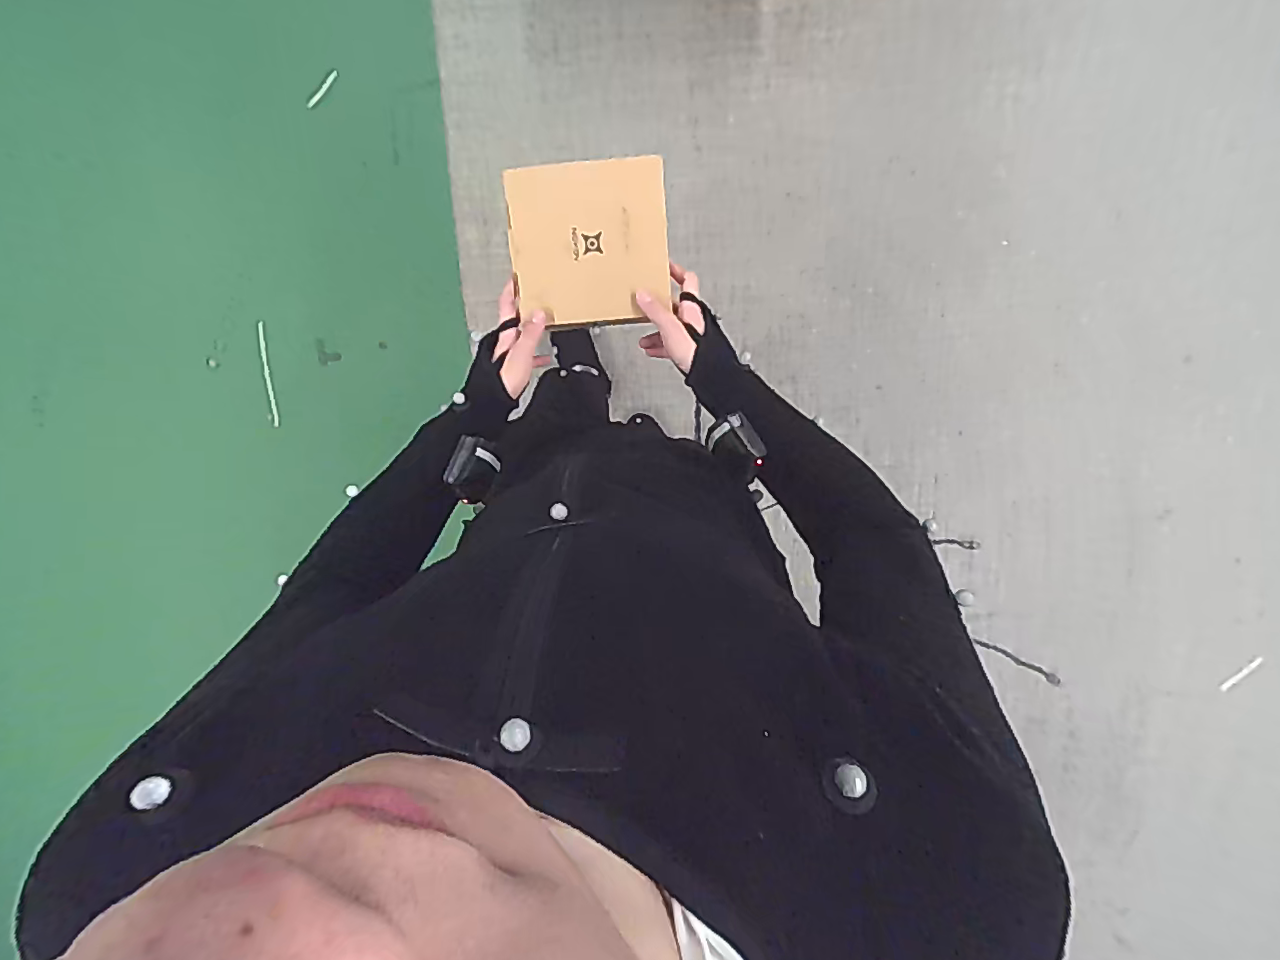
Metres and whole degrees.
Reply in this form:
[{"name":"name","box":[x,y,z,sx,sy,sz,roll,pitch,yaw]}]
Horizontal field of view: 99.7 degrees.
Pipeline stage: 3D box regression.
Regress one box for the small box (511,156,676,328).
[{"name":"small box","box":[-0.046,-0.279,0.670,0.179,0.176,0.168,-3,104,2]}]
